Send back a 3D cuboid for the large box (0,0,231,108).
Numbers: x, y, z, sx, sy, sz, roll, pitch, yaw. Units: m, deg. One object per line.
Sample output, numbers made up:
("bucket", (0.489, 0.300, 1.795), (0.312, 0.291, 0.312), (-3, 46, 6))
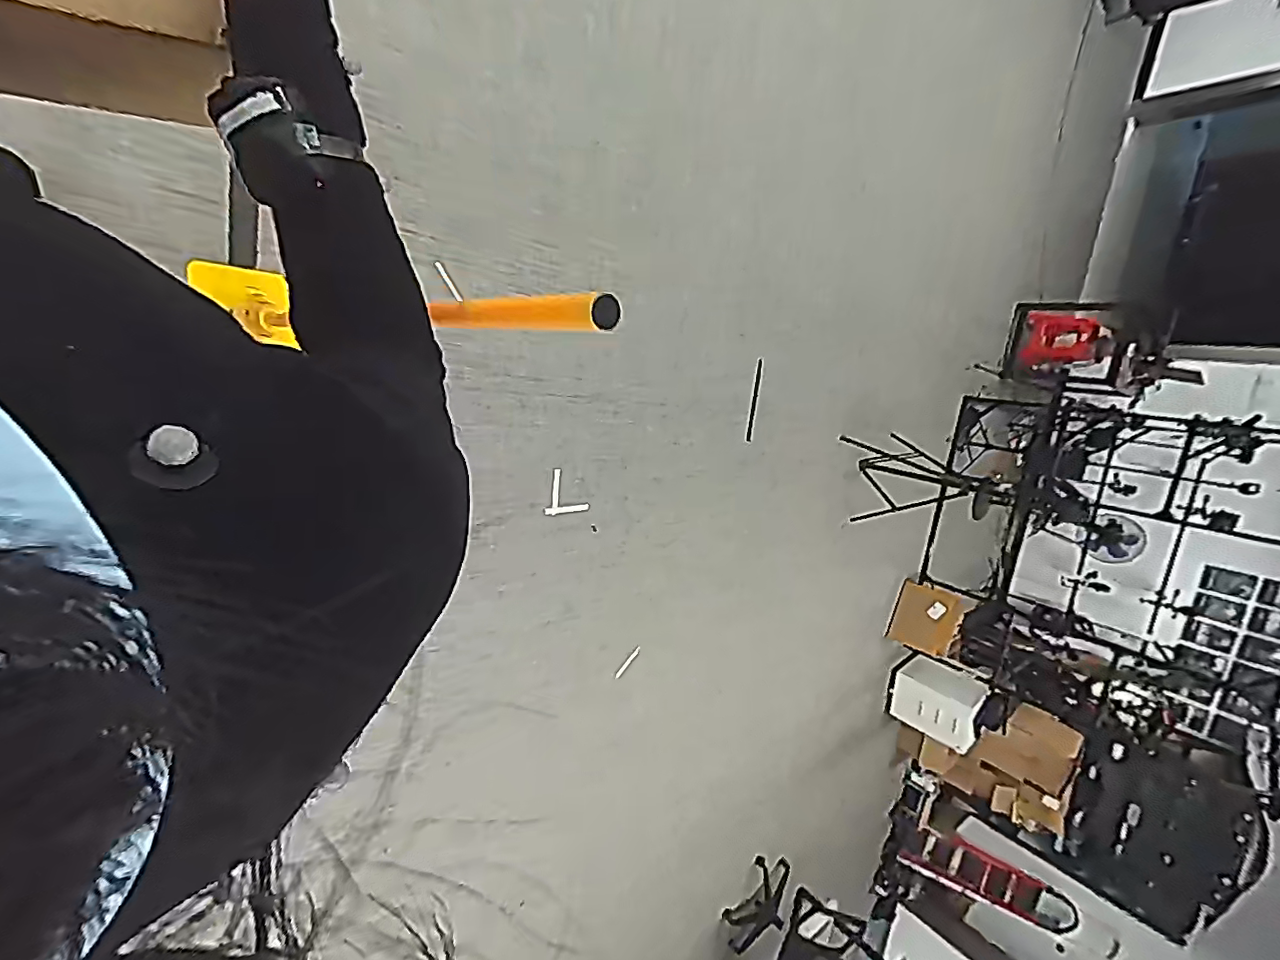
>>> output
("large box", (-0.519, -0.455, 0.310), (0.408, 0.320, 0.320), (-12, 115, -36))
